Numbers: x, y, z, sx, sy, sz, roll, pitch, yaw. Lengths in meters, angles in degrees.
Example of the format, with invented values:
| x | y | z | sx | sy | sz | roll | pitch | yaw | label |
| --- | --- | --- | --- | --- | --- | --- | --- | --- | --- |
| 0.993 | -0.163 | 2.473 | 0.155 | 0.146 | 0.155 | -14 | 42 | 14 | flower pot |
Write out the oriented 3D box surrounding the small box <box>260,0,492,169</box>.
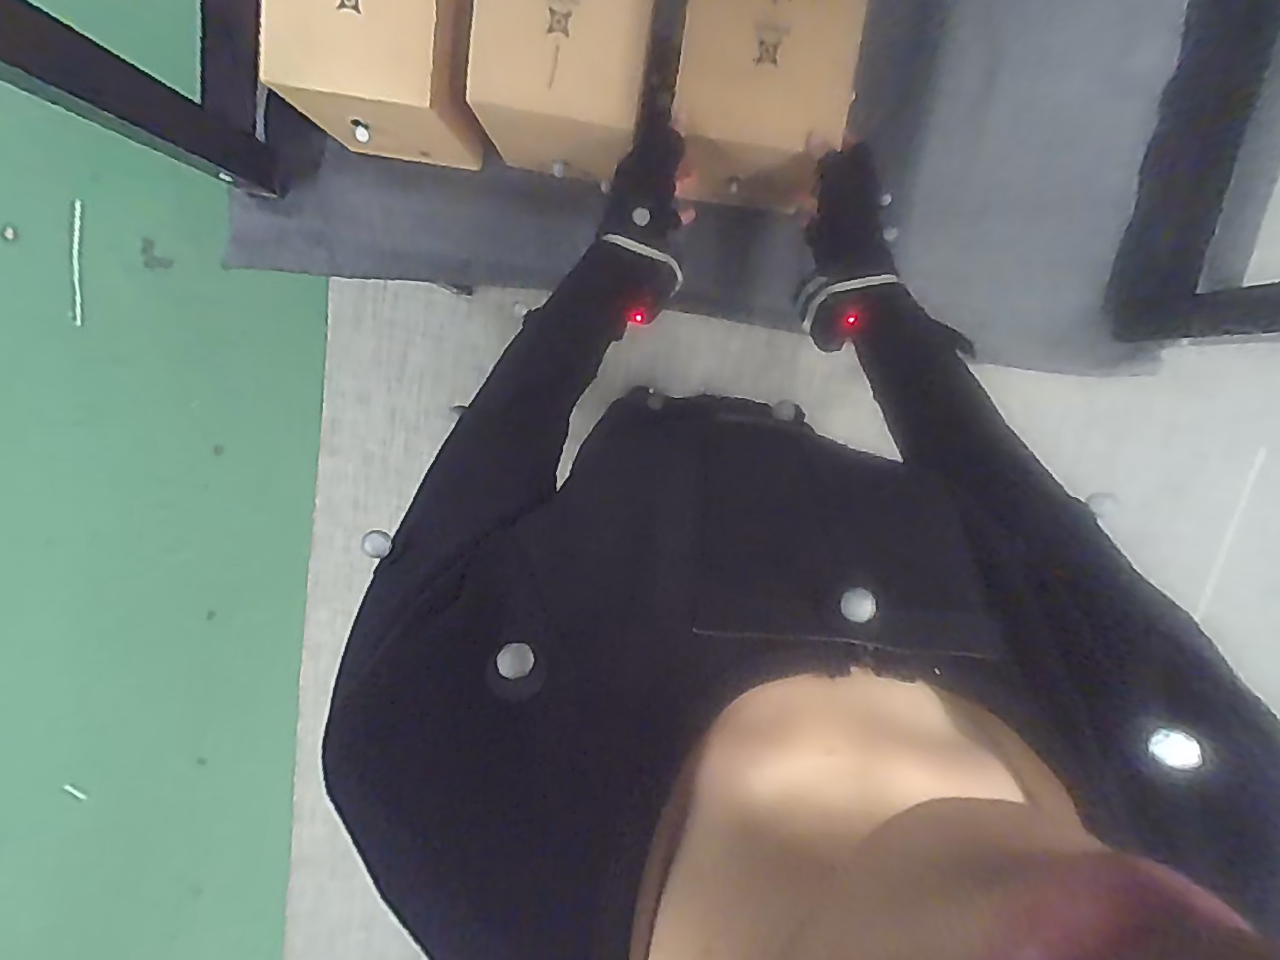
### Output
| x | y | z | sx | sy | sz | roll | pitch | yaw | label |
| --- | --- | --- | --- | --- | --- | --- | --- | --- | --- |
| -0.266 | -0.463 | 0.579 | 0.168 | 0.176 | 0.179 | 8 | 100 | -1 | small box |
